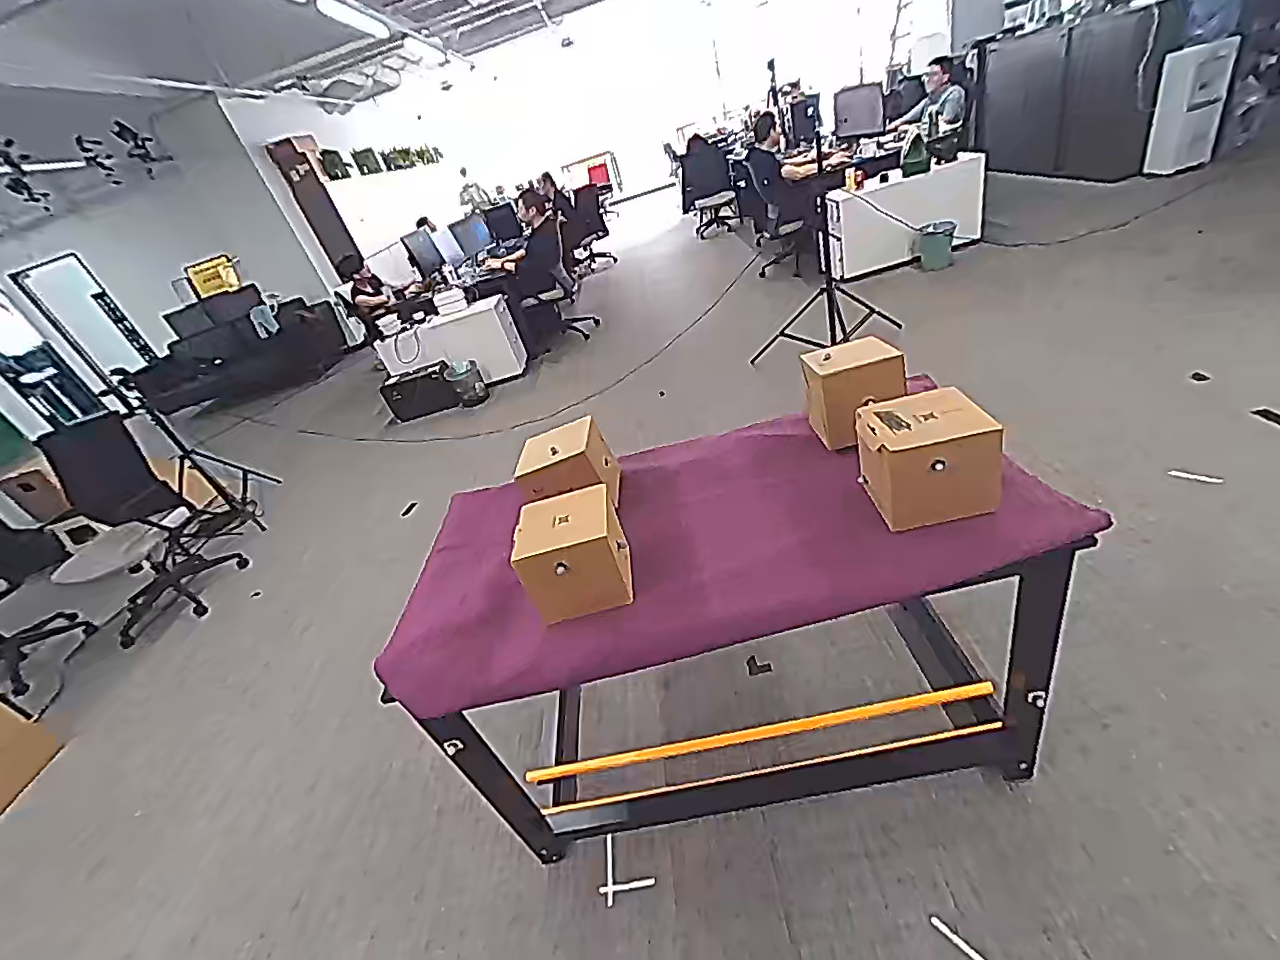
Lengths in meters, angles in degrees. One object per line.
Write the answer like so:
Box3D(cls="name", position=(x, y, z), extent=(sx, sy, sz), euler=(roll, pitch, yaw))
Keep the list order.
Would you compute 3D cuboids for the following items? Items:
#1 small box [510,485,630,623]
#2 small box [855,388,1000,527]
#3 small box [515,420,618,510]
Box3D(cls="small box", position=(-0.121, 0.139, 1.014), extent=(0.179, 0.176, 0.168), euler=(-16, 32, 5))
Box3D(cls="small box", position=(0.498, -0.037, 0.953), extent=(0.179, 0.176, 0.168), euler=(-13, 31, 9))
Box3D(cls="small box", position=(-0.160, -0.014, 1.240), extent=(0.179, 0.168, 0.176), euler=(-19, 30, 13))
